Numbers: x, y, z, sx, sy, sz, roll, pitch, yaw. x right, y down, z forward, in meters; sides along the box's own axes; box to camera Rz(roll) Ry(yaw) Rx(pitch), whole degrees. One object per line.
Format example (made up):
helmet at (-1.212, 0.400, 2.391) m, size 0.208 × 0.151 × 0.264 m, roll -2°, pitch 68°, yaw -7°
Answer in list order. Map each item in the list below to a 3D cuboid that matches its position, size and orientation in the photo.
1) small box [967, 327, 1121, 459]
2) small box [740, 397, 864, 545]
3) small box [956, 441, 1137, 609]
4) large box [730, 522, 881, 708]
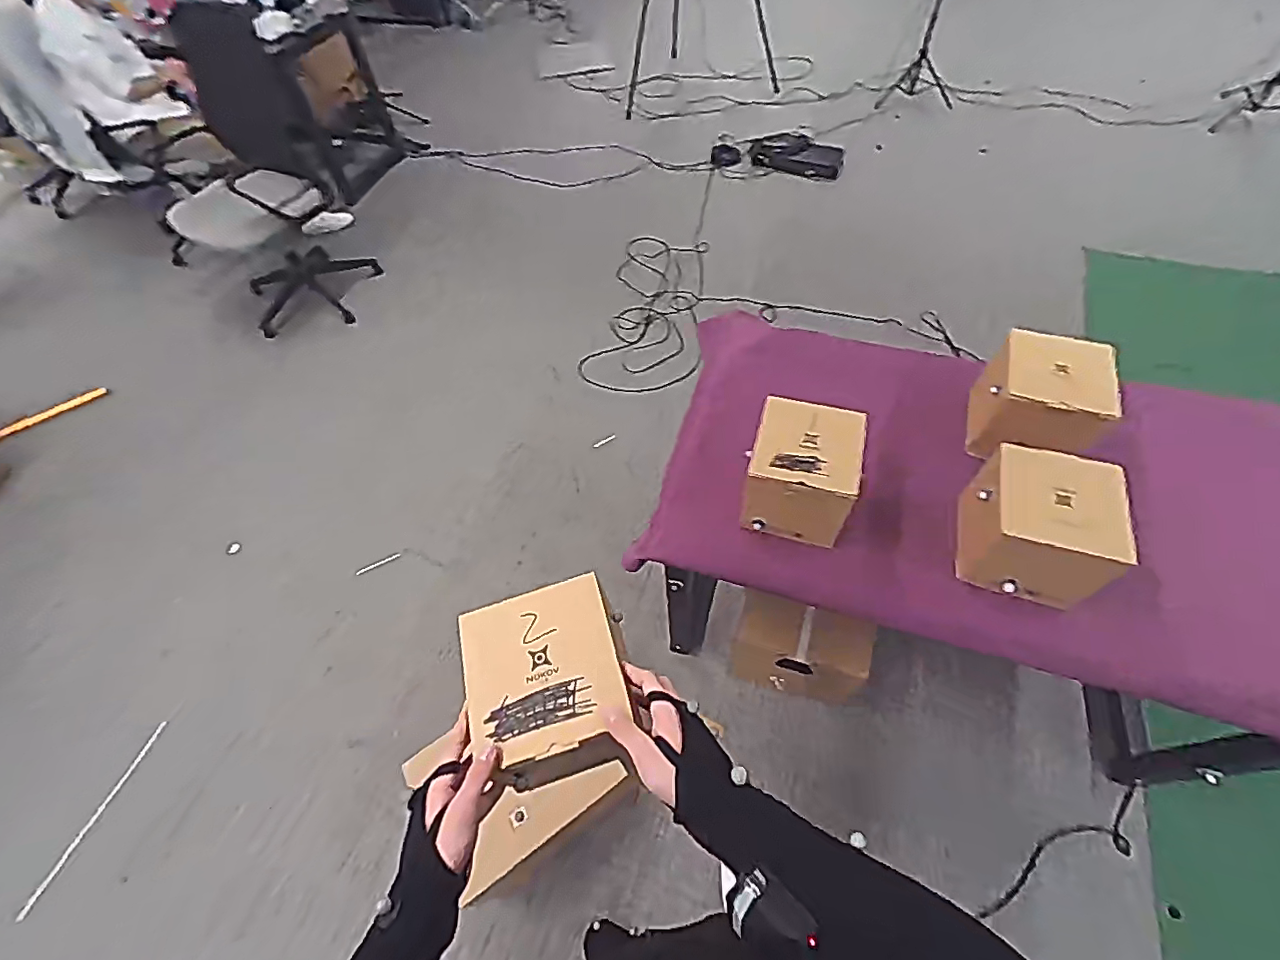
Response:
small box at (0.715, -0.143, 0.977) m, size 0.168 × 0.176 × 0.179 m, roll 15°, pitch 60°, yaw 14°
small box at (0.270, -0.011, 0.924) m, size 0.168 × 0.176 × 0.179 m, roll 13°, pitch 56°, yaw 13°
small box at (0.613, 0.072, 0.839) m, size 0.168 × 0.176 × 0.179 m, roll 14°, pitch 58°, yaw 15°
large box at (0.441, 0.346, 1.471) m, size 0.320 × 0.320 × 0.408 m, roll 14°, pitch 57°, yaw 13°
